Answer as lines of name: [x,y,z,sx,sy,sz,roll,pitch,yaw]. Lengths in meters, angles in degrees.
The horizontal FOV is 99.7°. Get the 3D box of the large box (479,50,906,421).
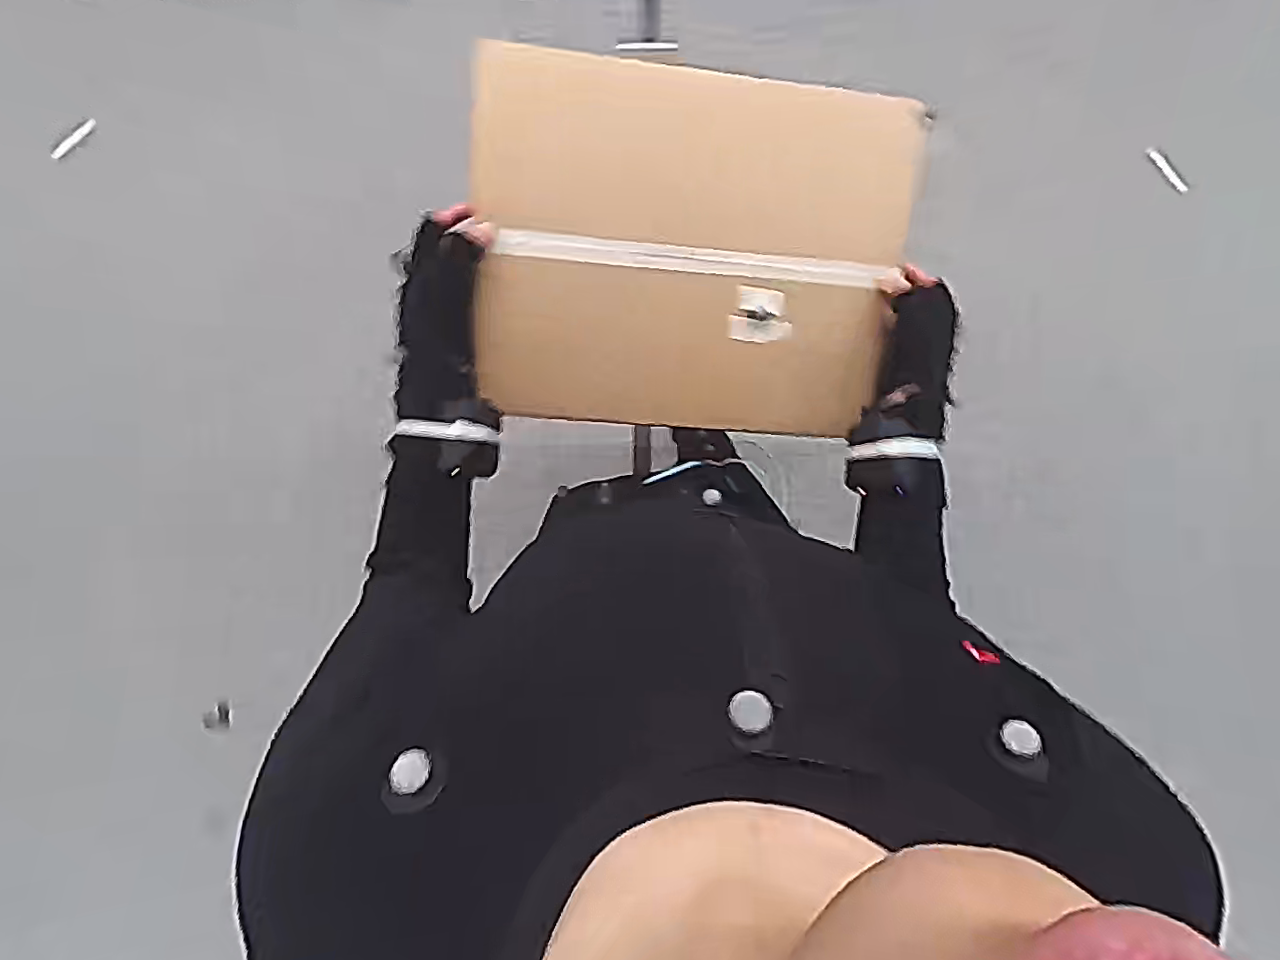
large box: [0.032,-0.249,0.666,0.408,0.320,0.320,3,103,-6]
